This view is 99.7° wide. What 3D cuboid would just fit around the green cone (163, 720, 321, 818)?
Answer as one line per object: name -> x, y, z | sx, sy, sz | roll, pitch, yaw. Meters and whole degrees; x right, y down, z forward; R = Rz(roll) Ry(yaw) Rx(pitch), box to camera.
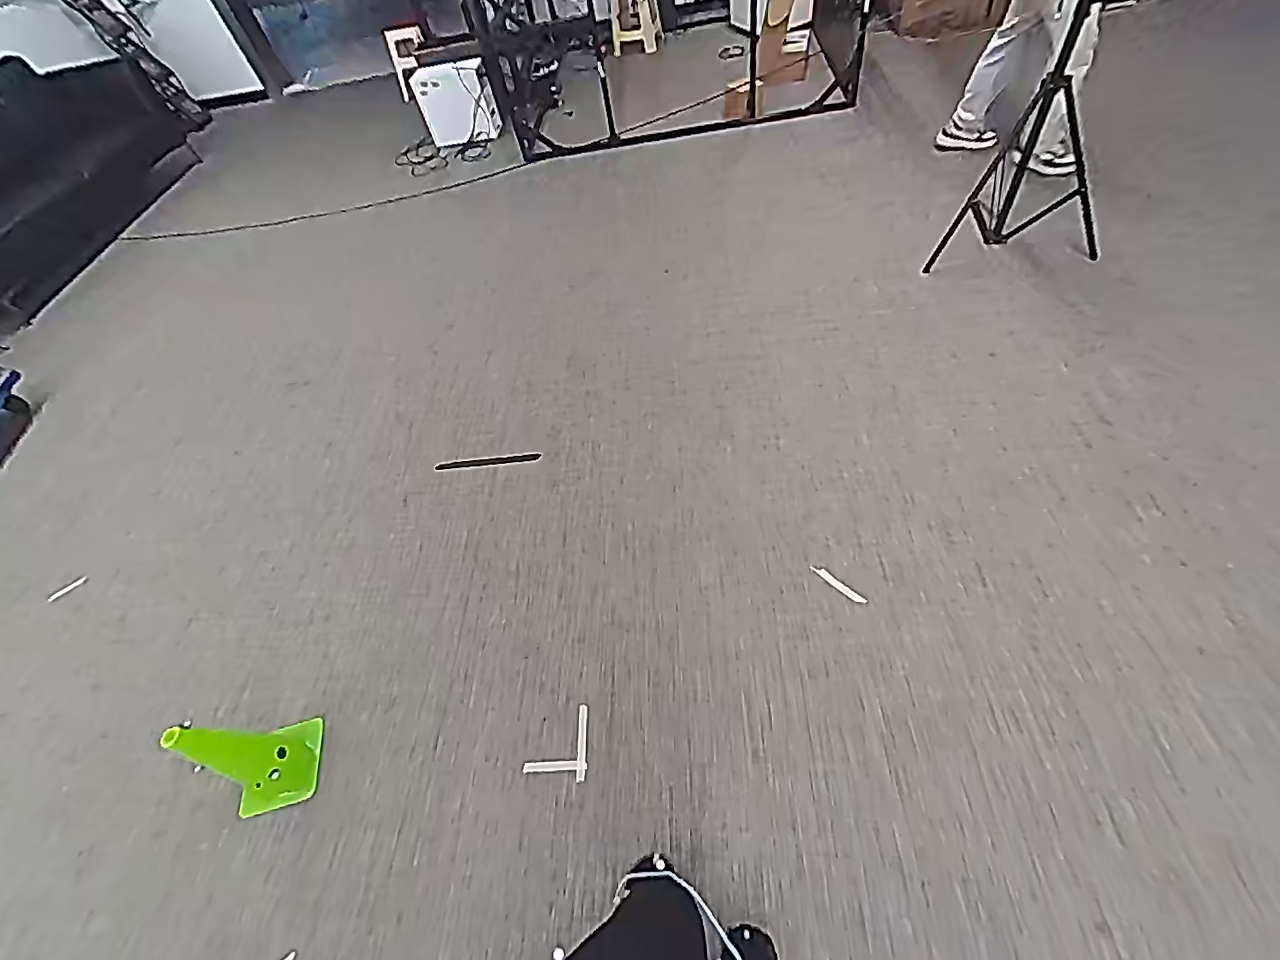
green cone -> -0.965, 0.650, 1.277 | 0.202, 0.368, 0.200 | -16, 53, -2
